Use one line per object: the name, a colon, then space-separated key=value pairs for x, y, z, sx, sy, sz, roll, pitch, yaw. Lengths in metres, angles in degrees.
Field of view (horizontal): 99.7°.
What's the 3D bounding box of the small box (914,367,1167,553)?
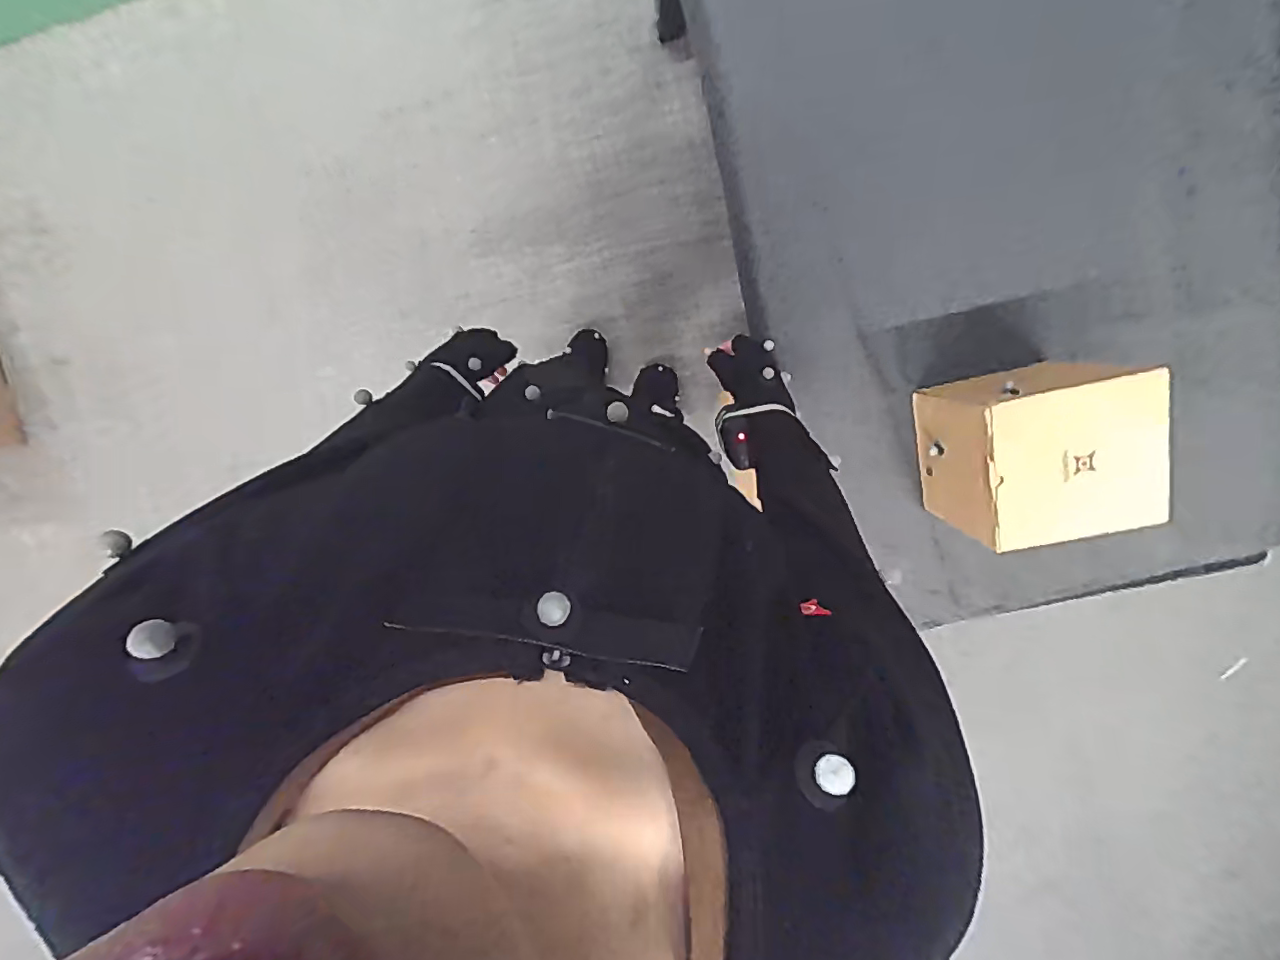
small box: x=0.455 y=-0.034 z=0.638 sx=0.179 sy=0.176 sz=0.168 roll=-12 pitch=103 yaw=5
